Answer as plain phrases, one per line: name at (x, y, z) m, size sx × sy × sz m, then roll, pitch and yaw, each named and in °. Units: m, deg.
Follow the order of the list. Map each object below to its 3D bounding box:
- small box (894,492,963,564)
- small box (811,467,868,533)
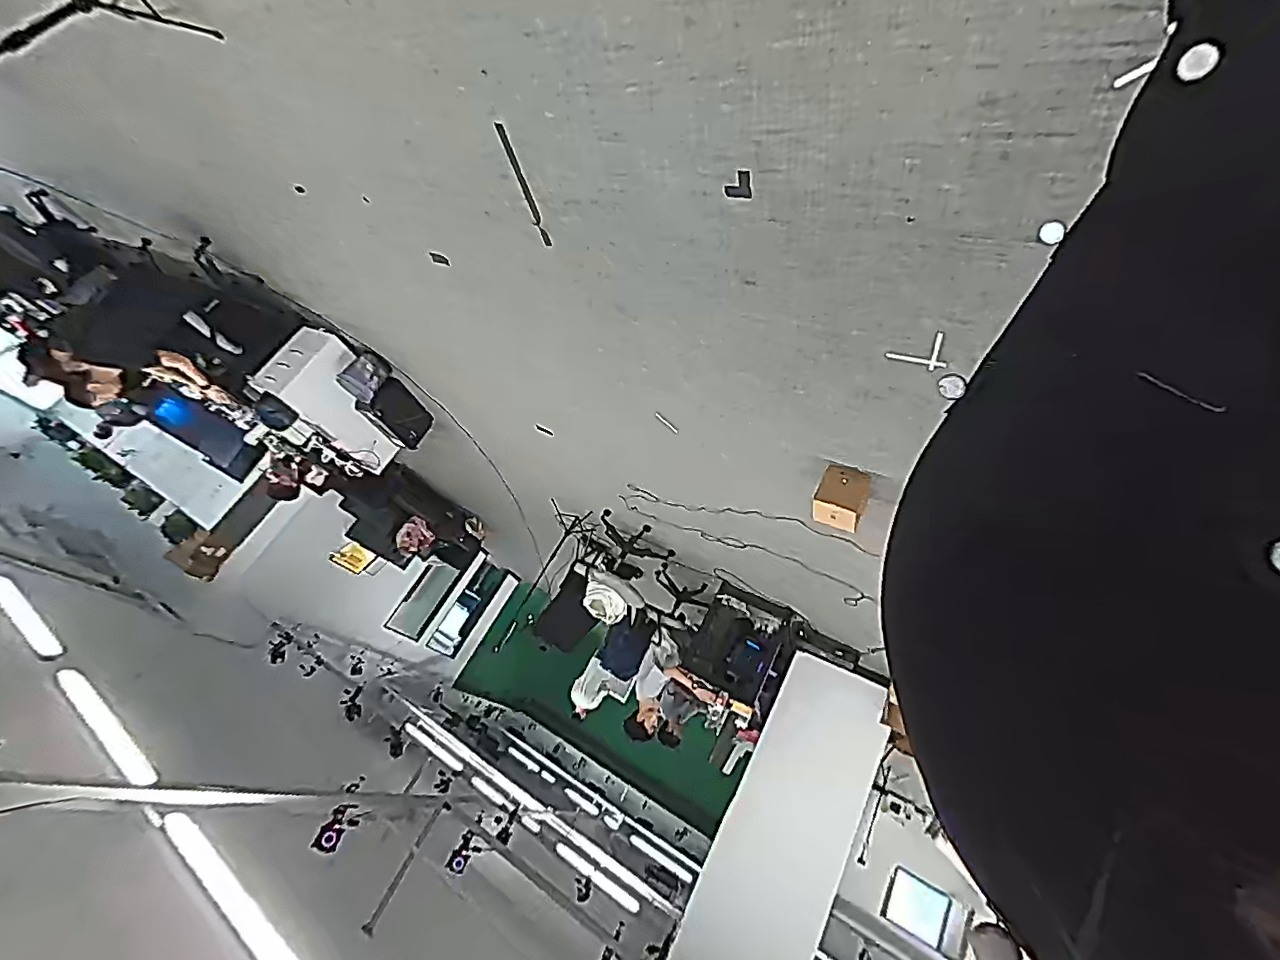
small box at (1.052, 0.174, 1.973) m, size 0.168 × 0.176 × 0.179 m, roll 21°, pitch 157°, yaw 24°
small box at (0.783, 0.076, 2.117) m, size 0.168 × 0.176 × 0.179 m, roll 19°, pitch 156°, yaw 28°
